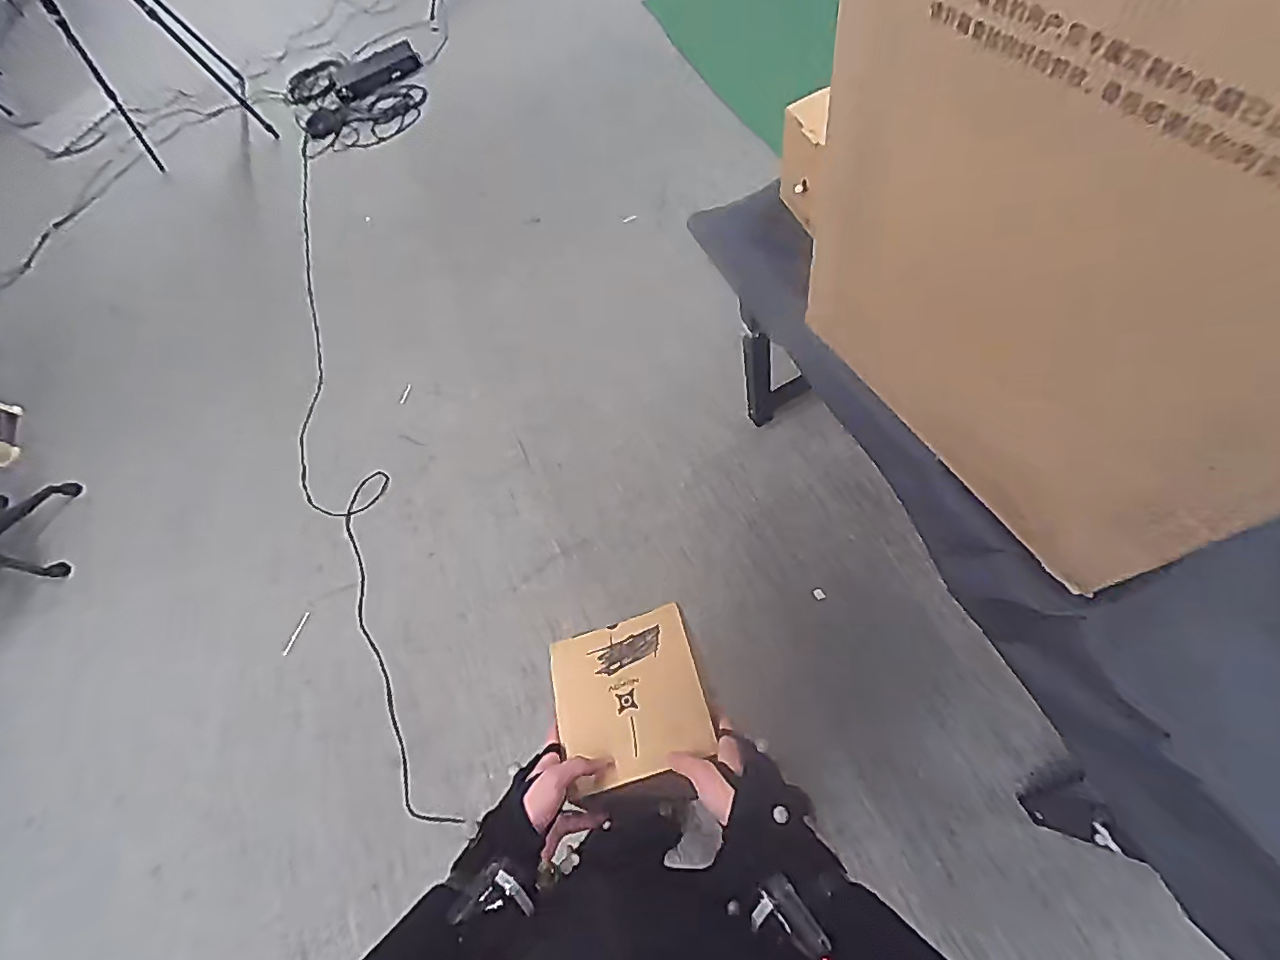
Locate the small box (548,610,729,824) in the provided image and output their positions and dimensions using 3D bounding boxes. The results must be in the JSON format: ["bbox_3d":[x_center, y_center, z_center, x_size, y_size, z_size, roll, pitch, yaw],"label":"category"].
[{"bbox_3d":[-0.001,0.294,0.666,0.168,0.176,0.179,-20,49,4],"label":"small box"}]
